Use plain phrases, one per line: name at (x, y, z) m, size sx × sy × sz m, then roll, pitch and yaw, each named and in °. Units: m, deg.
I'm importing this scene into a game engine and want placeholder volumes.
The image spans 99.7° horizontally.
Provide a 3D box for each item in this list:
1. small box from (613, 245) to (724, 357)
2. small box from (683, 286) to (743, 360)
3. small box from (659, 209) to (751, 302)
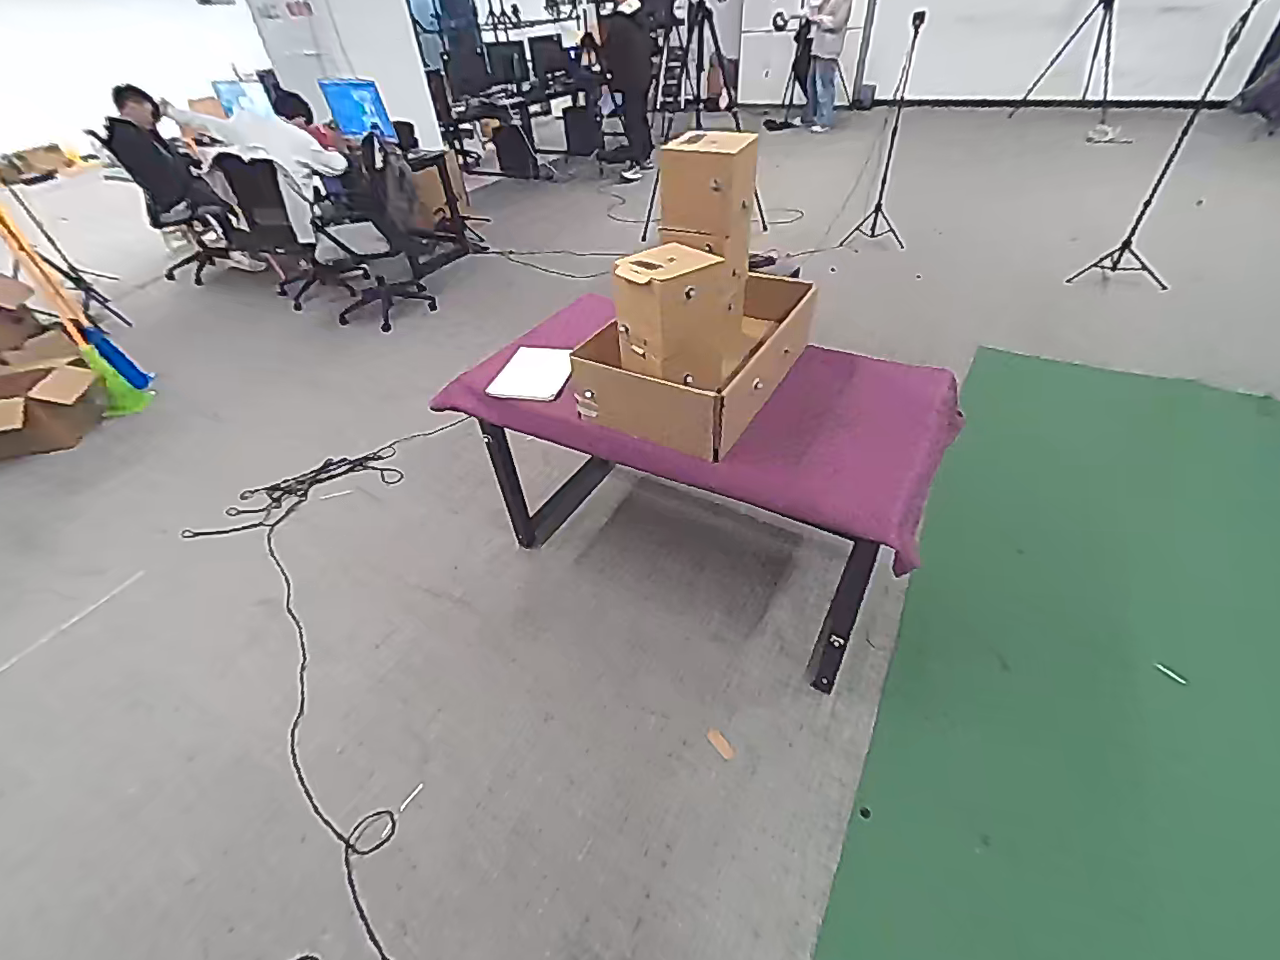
small box at (0.066, -0.385, 1.165) m, size 0.179 × 0.176 × 0.168 m, roll -28°, pitch 45°, yaw -26°
small box at (0.175, -0.449, 1.475) m, size 0.168 × 0.176 × 0.179 m, roll 20°, pitch 50°, yaw 26°
small box at (0.165, -0.564, 1.361) m, size 0.179 × 0.176 × 0.168 m, roll 18°, pitch 49°, yaw 24°
